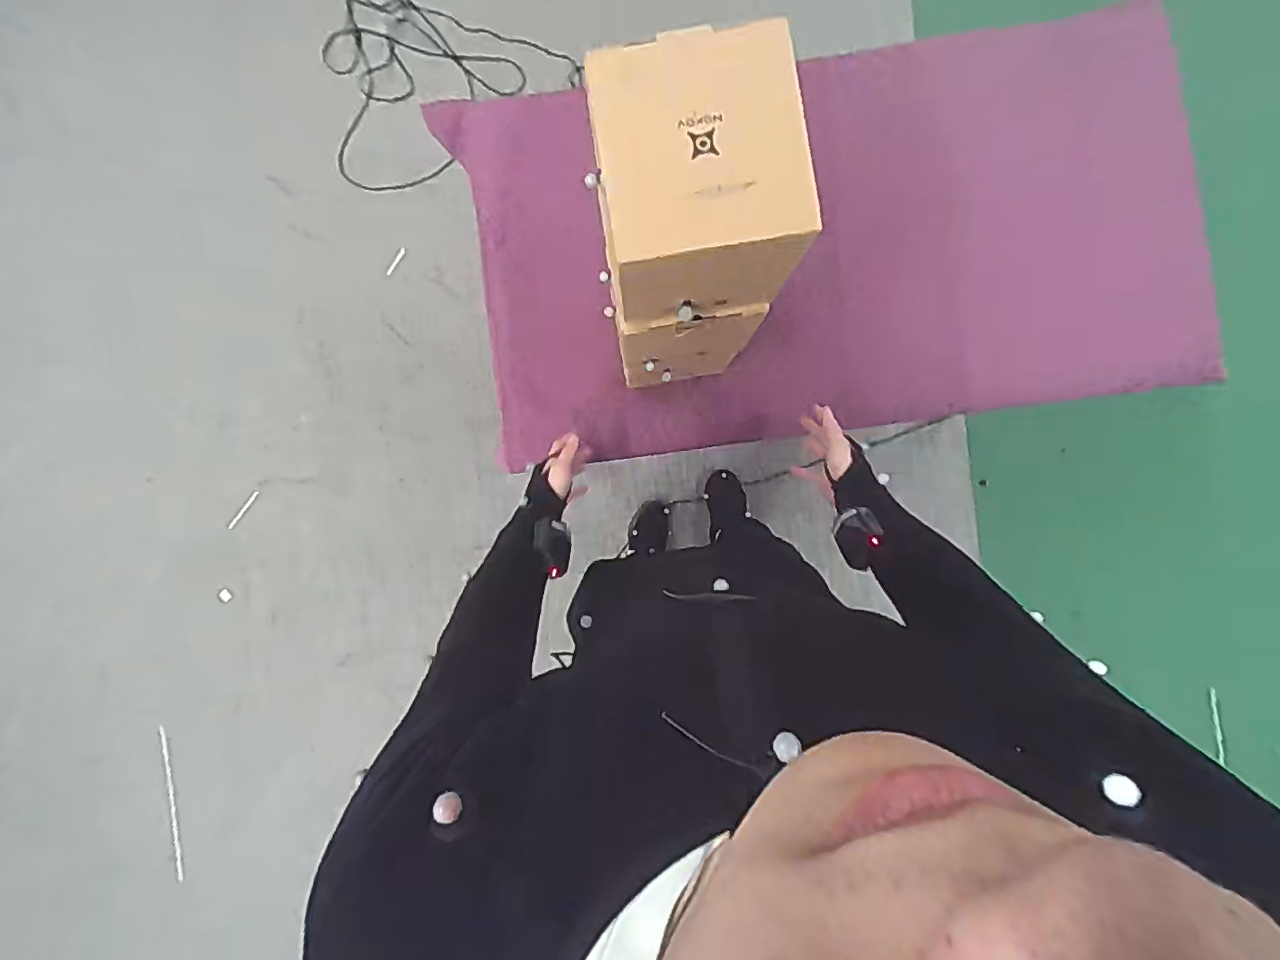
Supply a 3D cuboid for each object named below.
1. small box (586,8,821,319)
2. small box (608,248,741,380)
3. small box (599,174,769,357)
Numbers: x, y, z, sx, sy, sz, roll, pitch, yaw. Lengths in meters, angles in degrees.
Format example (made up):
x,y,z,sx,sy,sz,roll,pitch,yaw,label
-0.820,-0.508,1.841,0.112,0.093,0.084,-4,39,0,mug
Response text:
x,y,z,sx,sy,sz,roll,pitch,yaw,label
0.049,-0.269,0.498,0.168,0.176,0.179,-9,89,1,small box
0.051,-0.258,0.826,0.168,0.176,0.179,-10,89,1,small box
0.049,-0.258,0.661,0.168,0.176,0.179,-9,88,0,small box
